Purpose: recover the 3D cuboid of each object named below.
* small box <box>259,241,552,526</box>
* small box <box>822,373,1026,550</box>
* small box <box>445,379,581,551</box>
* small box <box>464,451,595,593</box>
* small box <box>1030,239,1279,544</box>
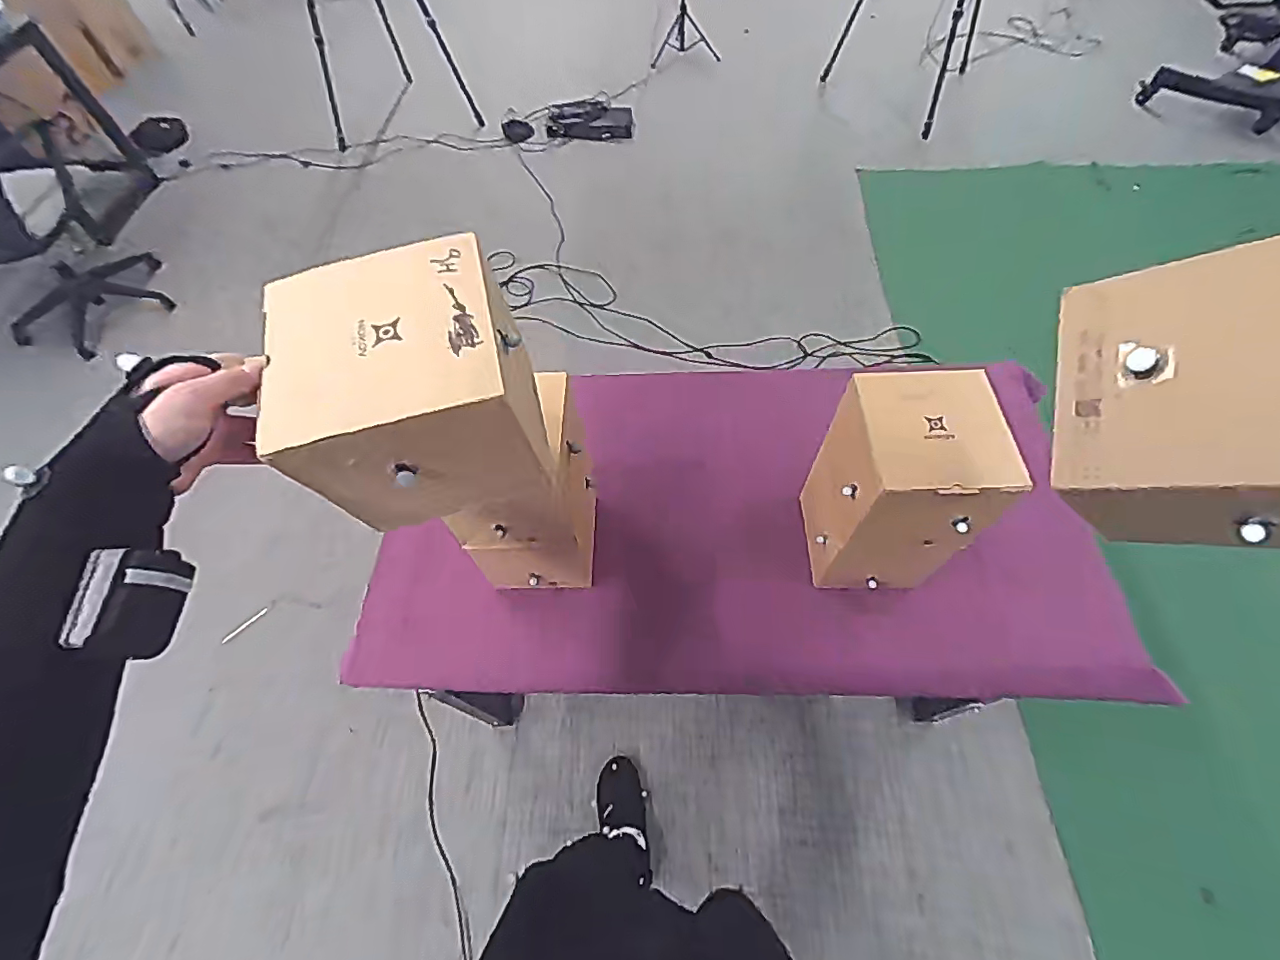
[{"bbox_3d":[-0.193,-0.074,0.486,0.179,0.176,0.168,-14,64,-1],"label":"small box"},{"bbox_3d":[0.349,-0.016,0.707,0.168,0.176,0.179,-1,58,3],"label":"small box"},{"bbox_3d":[-0.174,-0.016,0.742,0.168,0.176,0.179,-2,58,2],"label":"small box"},{"bbox_3d":[-0.166,0.071,0.879,0.168,0.176,0.179,-1,58,3],"label":"small box"},{"bbox_3d":[0.418,-0.053,0.395,0.179,0.176,0.168,21,75,-33],"label":"small box"}]
